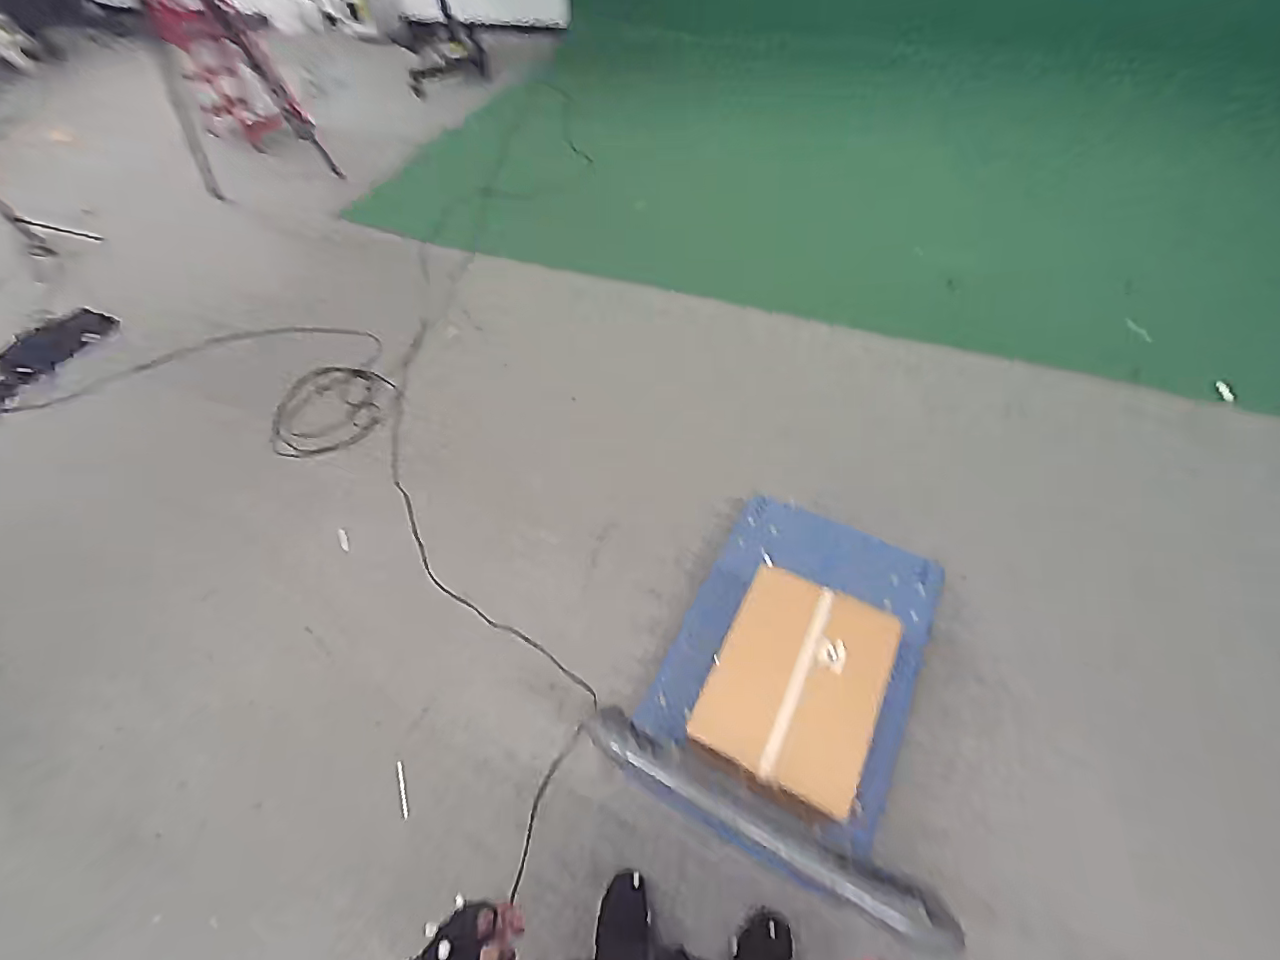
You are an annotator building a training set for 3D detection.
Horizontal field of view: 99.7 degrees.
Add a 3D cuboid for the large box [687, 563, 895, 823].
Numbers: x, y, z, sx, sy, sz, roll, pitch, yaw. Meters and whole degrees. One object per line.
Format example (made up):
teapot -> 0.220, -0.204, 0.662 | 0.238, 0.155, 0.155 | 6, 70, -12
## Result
large box -> 0.323, 0.473, 1.207 | 0.320, 0.320, 0.408 | 22, 60, 19
